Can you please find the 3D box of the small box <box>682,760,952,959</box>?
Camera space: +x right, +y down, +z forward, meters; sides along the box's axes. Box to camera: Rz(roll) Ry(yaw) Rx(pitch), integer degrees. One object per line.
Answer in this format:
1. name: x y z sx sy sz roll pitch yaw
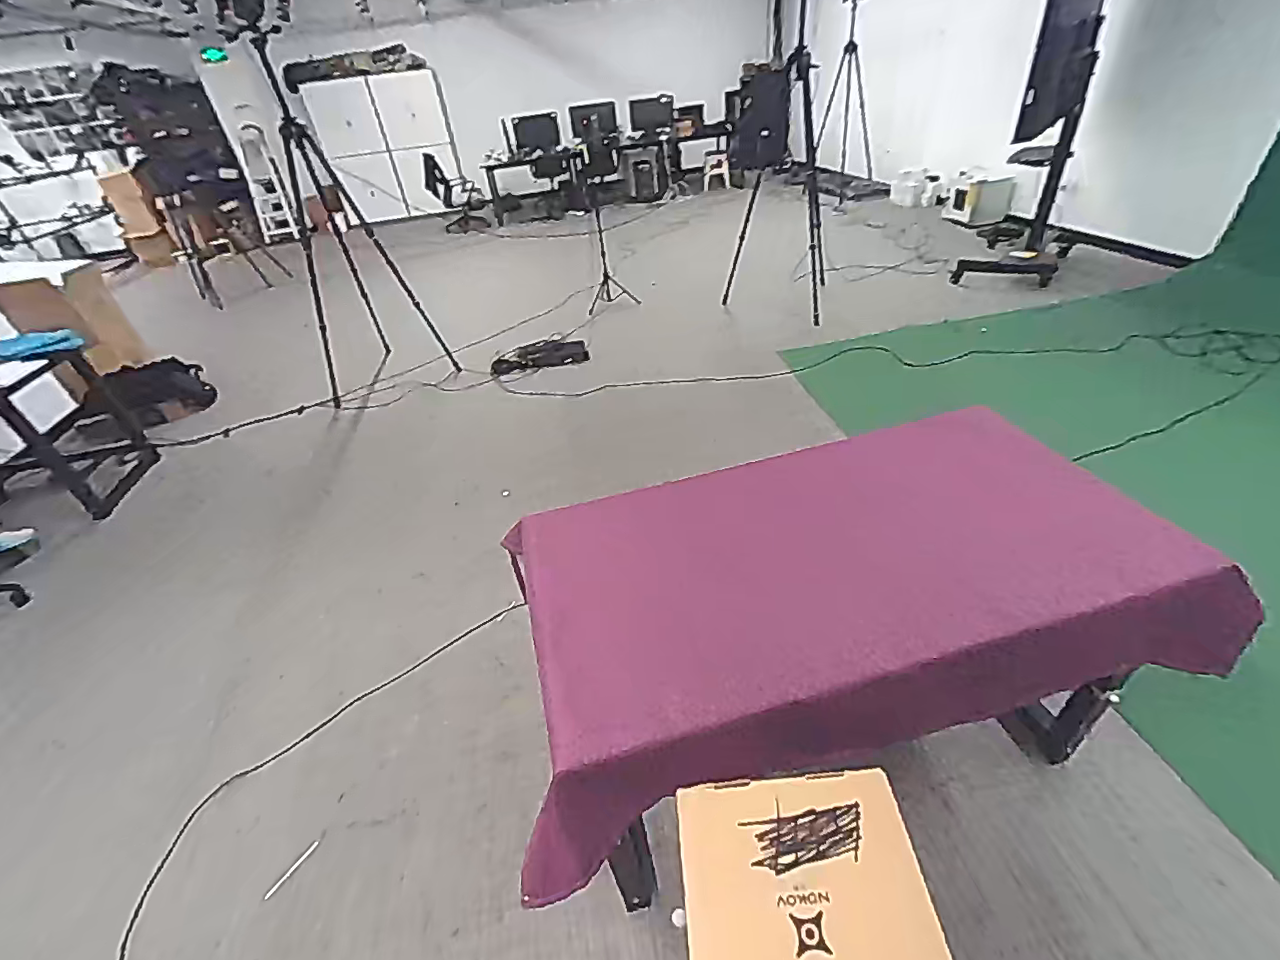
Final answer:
1. small box: 0.127 0.349 0.424 0.168 0.176 0.179 -9 42 5
